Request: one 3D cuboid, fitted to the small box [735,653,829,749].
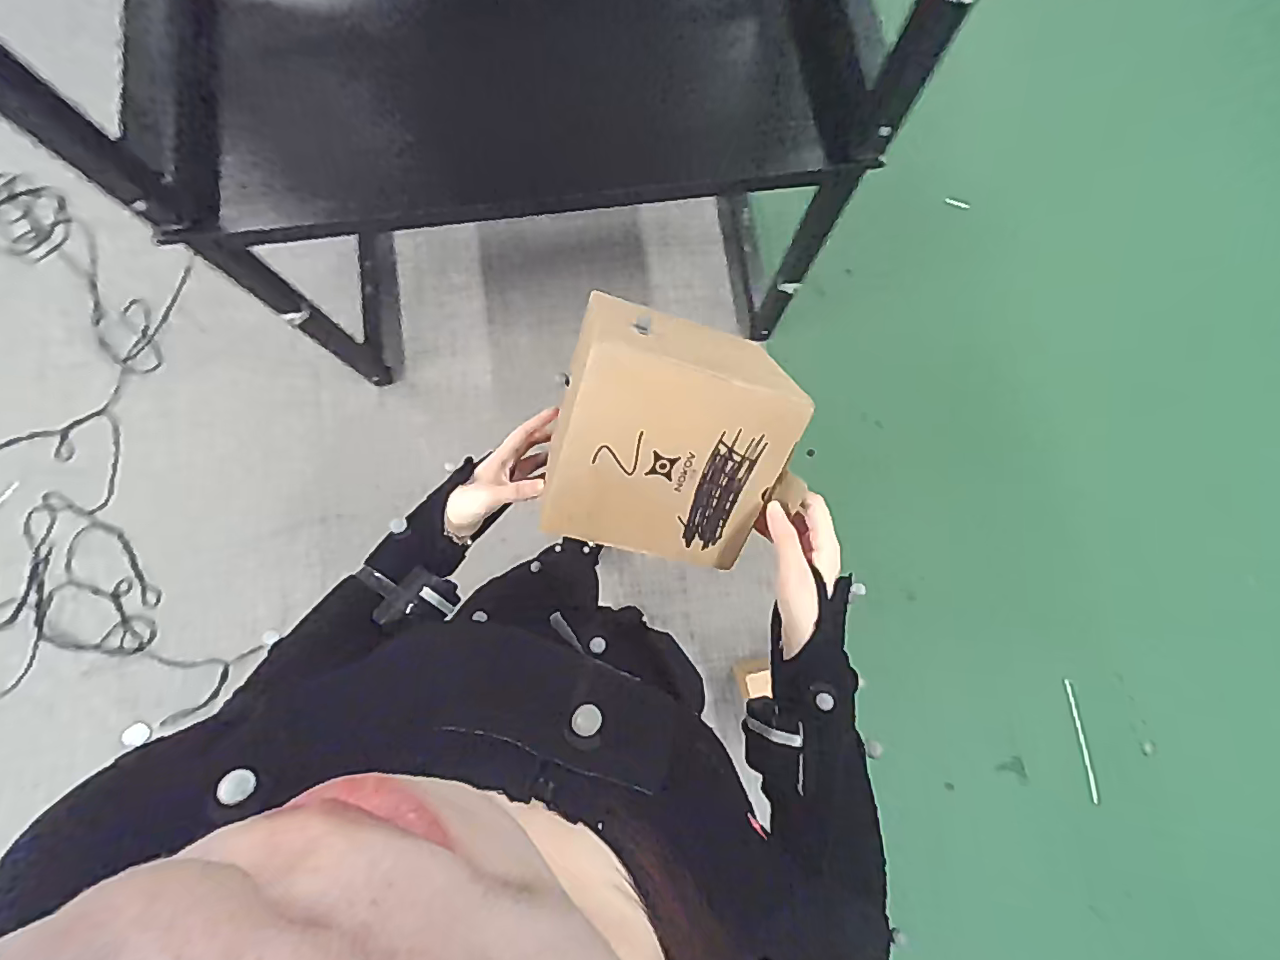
[{"bbox_3d":[0.350,0.548,1.369,0.168,0.176,0.179,-14,82,-3],"label":"small box"}]
